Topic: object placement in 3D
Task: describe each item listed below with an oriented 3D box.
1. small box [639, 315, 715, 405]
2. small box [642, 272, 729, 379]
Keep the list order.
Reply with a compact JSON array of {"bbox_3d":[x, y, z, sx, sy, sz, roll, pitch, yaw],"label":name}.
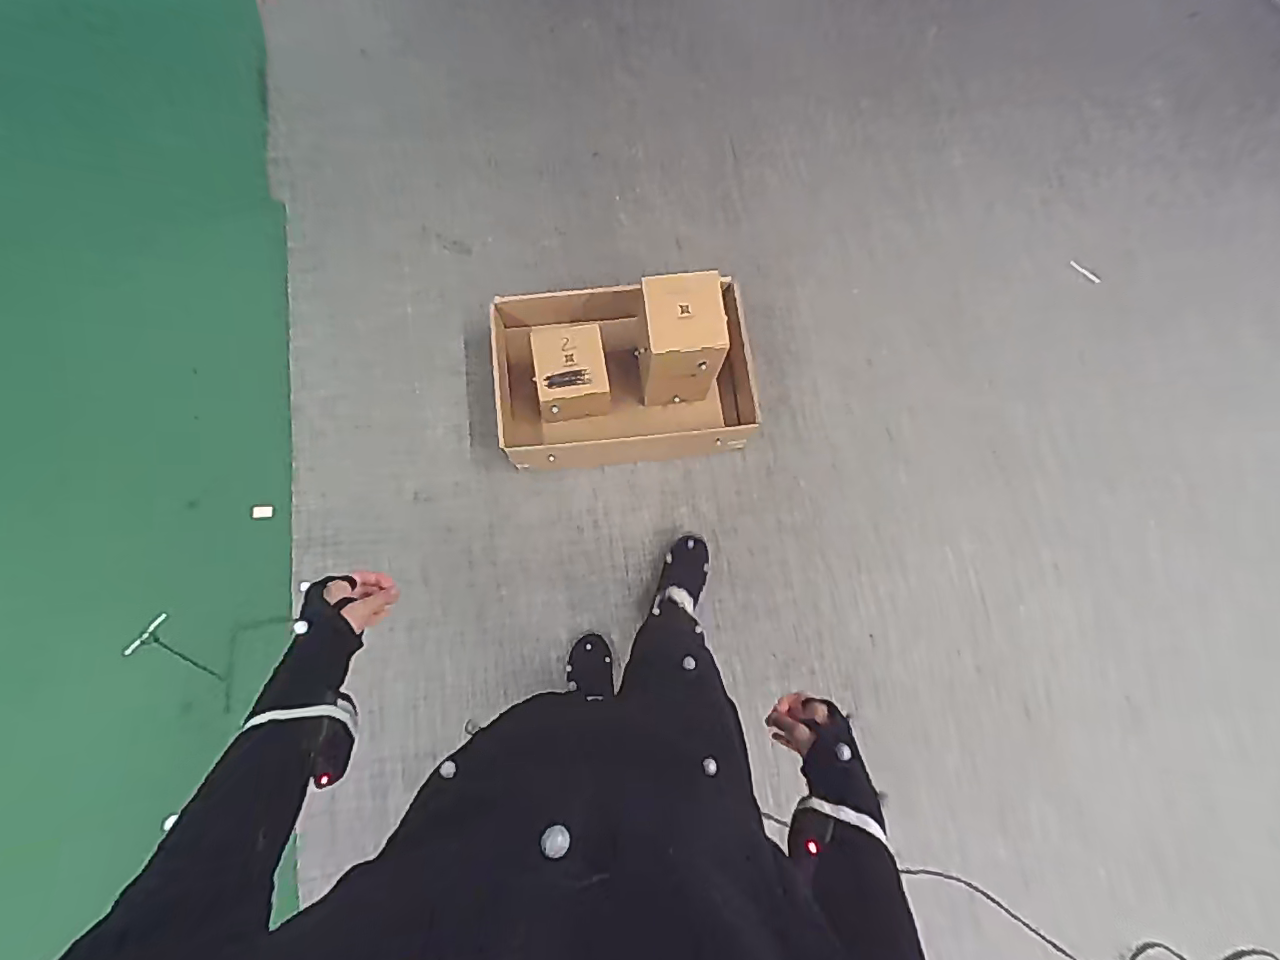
[{"bbox_3d":[0.086,-0.304,1.363,0.168,0.176,0.179,-6,79,-1],"label":"small box"},{"bbox_3d":[0.094,-0.333,1.203,0.168,0.176,0.179,-6,78,-3],"label":"small box"}]
